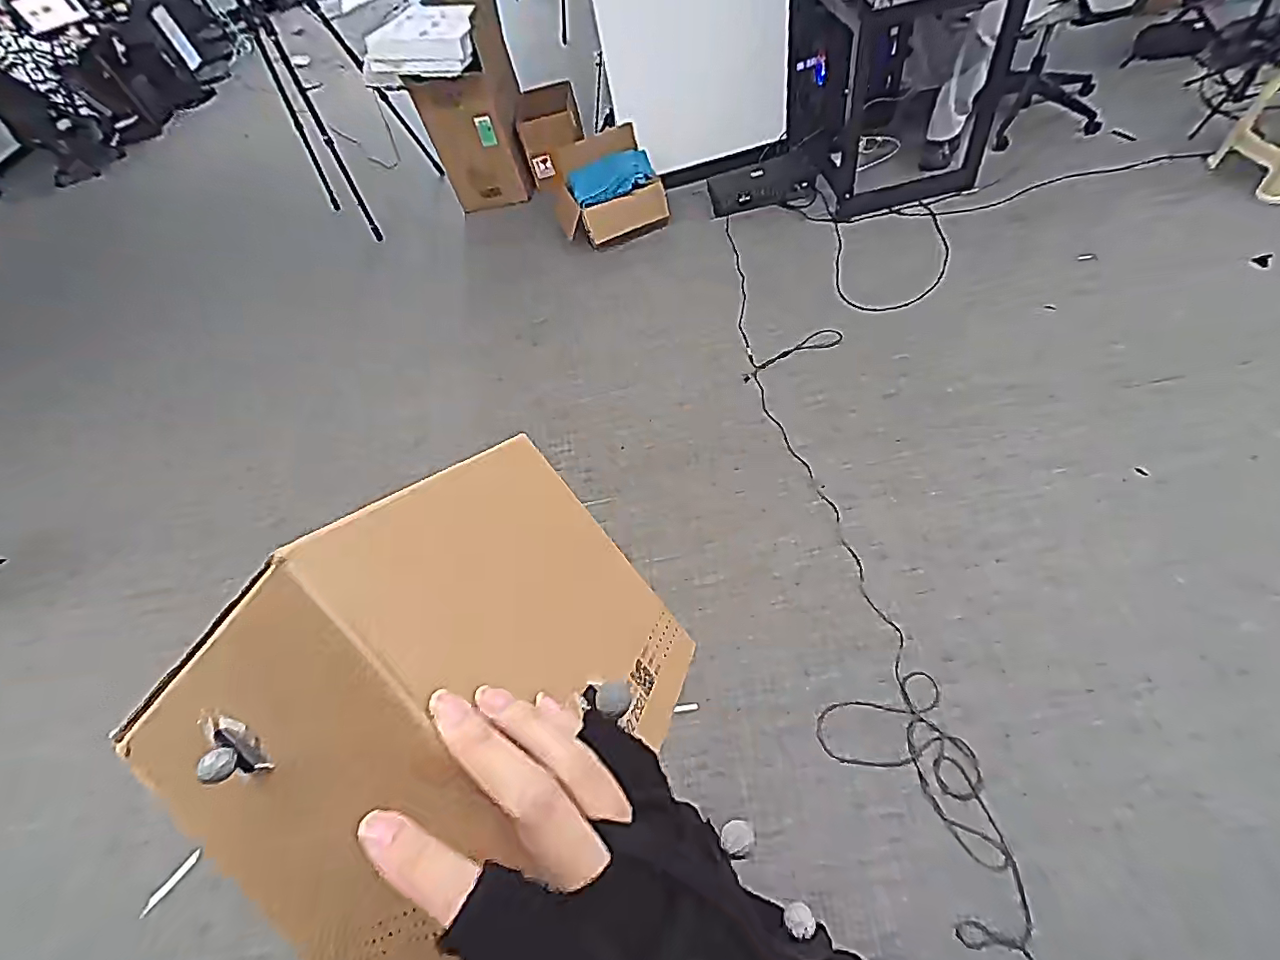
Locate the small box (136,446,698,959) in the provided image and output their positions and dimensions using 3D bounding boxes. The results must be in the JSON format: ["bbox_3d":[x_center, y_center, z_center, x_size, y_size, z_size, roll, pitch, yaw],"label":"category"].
[{"bbox_3d":[-0.099,0.115,0.289,0.179,0.176,0.168,-37,4,26],"label":"small box"}]
